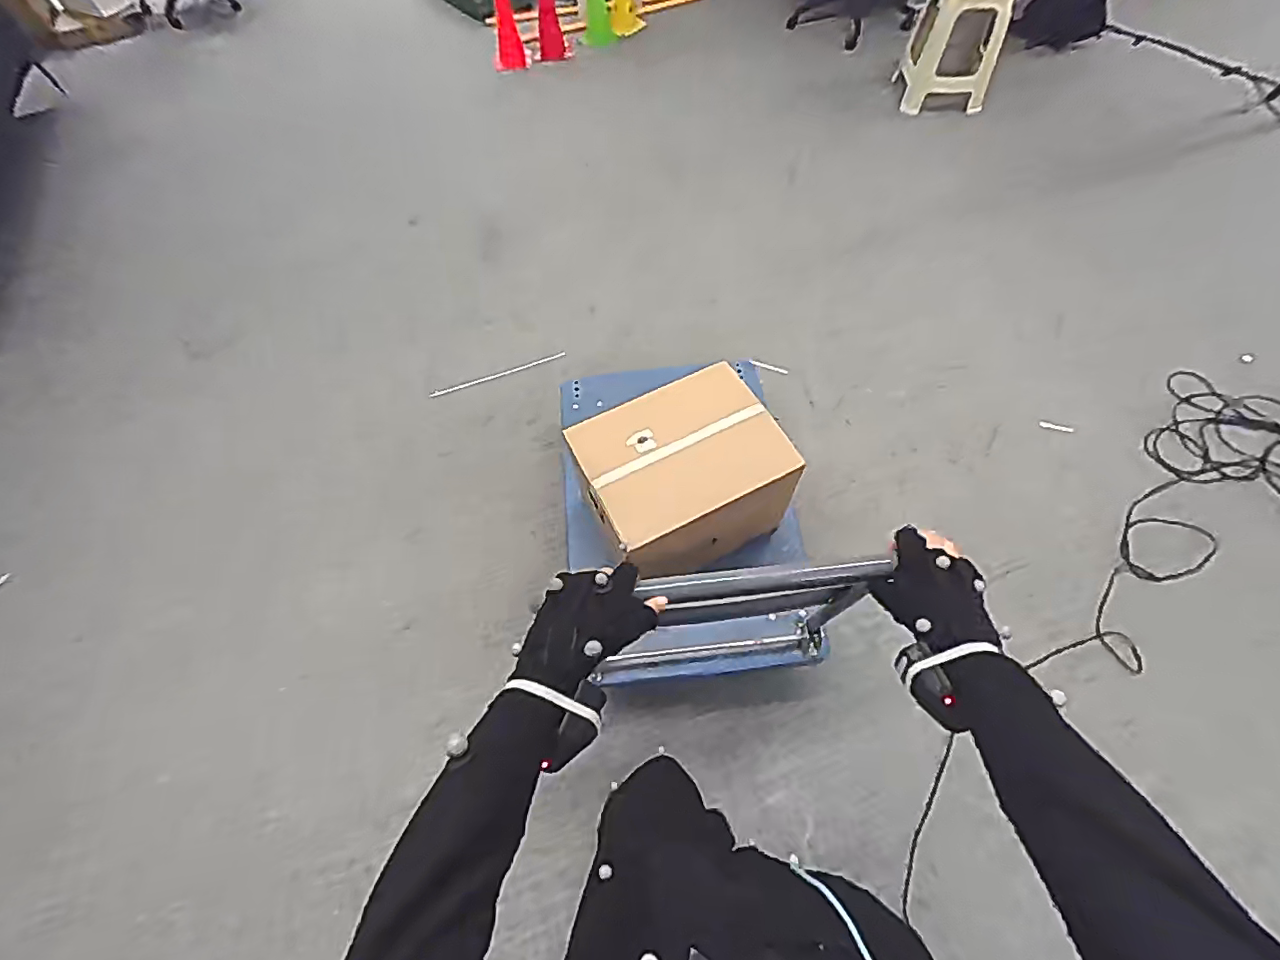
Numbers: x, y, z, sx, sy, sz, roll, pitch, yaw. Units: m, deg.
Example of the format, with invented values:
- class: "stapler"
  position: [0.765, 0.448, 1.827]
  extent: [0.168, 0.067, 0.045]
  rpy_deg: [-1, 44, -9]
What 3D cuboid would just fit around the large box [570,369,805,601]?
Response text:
- class: "large box"
  position: [0.101, 0.020, 1.248]
  extent: [0.408, 0.320, 0.320]
  rpy_deg: [-26, 62, -10]
